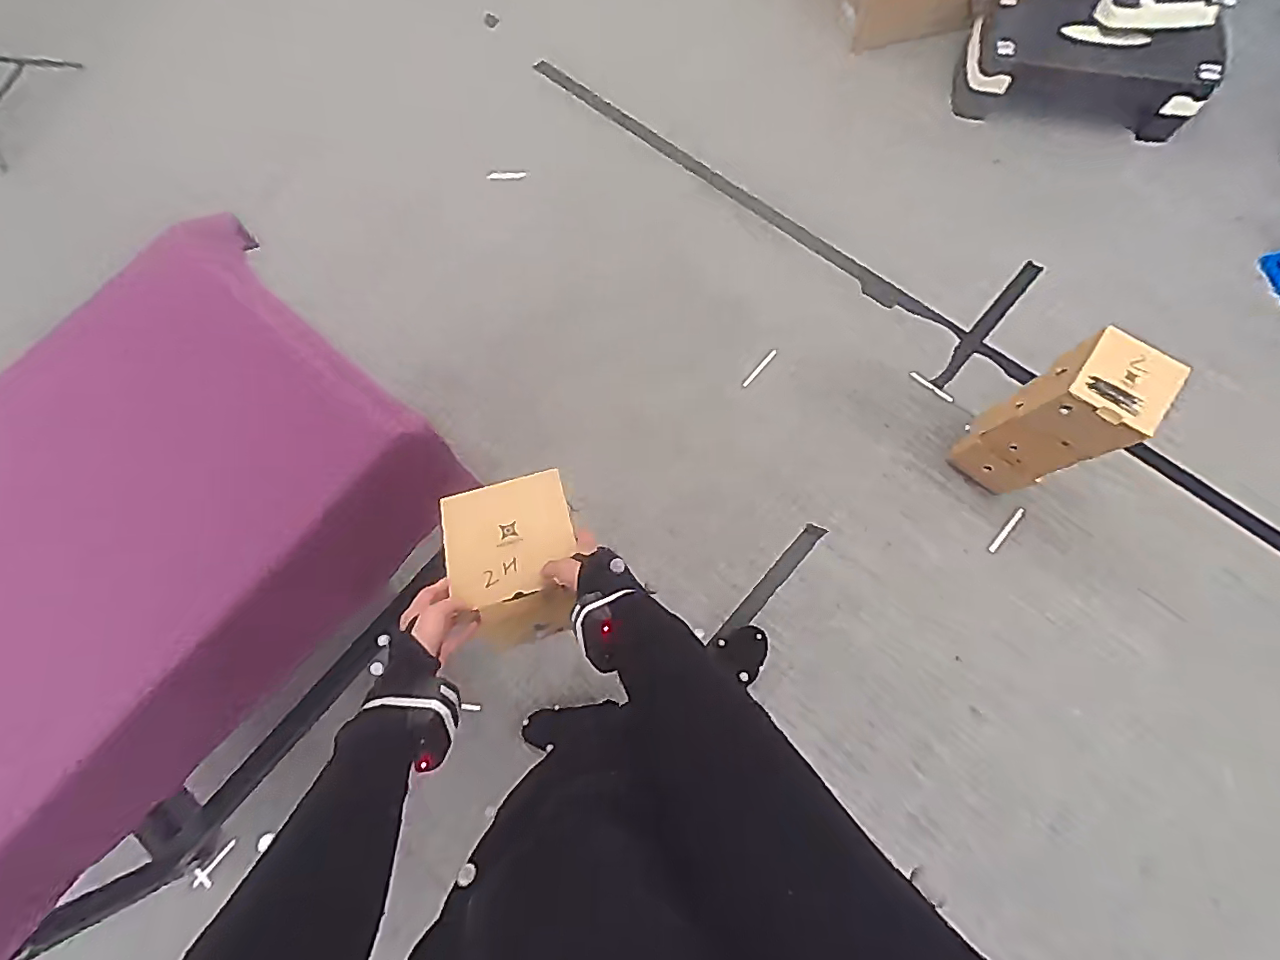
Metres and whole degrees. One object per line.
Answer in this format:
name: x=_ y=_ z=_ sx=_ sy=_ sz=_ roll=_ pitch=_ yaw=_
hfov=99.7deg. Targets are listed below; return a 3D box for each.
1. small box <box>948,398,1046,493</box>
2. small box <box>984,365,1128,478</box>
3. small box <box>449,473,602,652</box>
small box: x=0.964 y=-0.081 z=1.423 sx=0.179 sy=0.176 sz=0.168 roll=38 pitch=81 yaw=12
small box: x=0.960 y=-0.130 z=1.268 sx=0.168 sy=0.176 sz=0.179 roll=42 pitch=83 yaw=11
small box: x=-0.157 y=0.121 z=0.767 sx=0.168 sy=0.176 sz=0.179 roll=-15 pitch=59 yaw=-5
